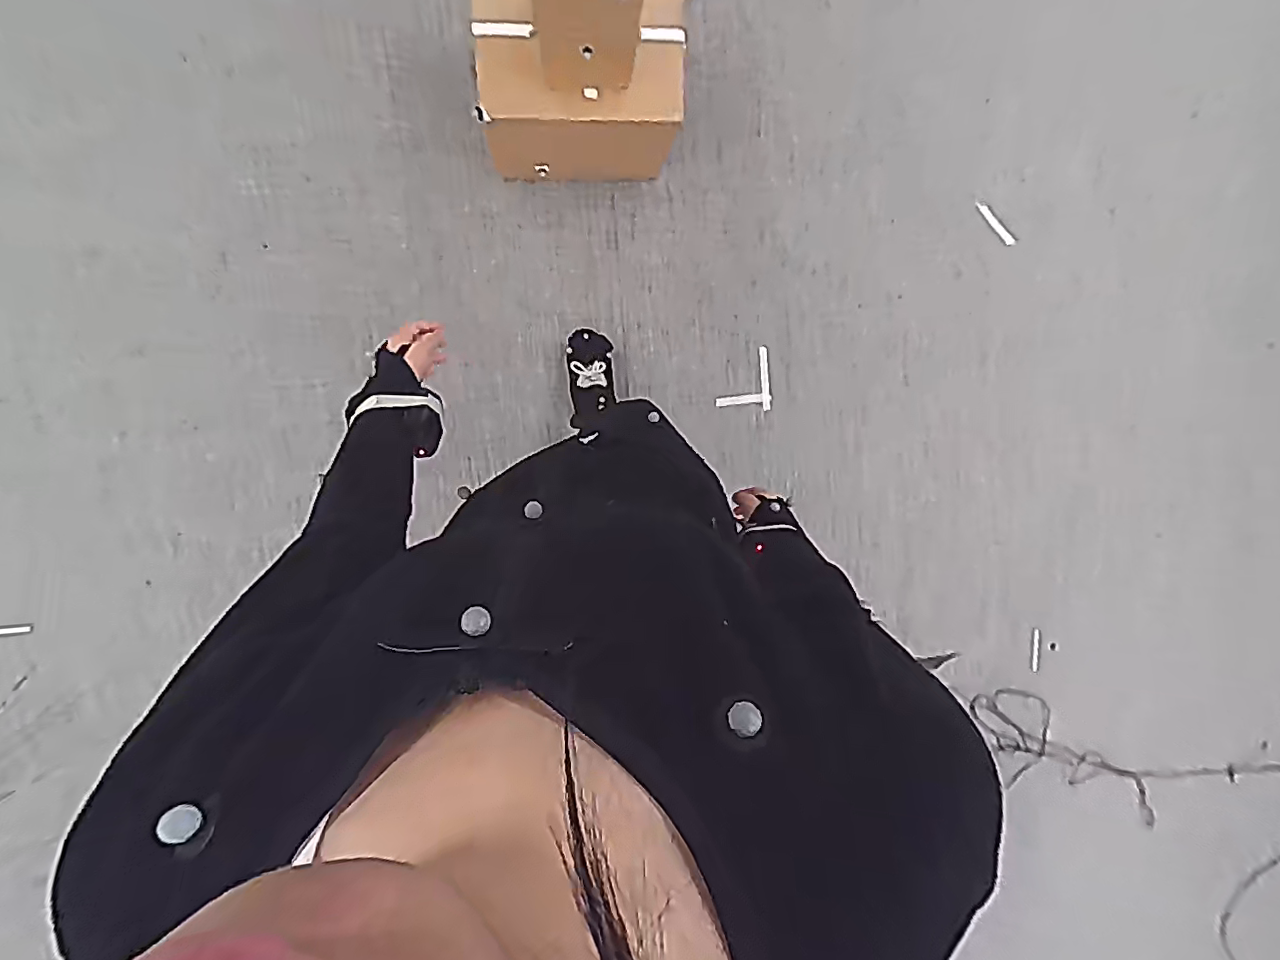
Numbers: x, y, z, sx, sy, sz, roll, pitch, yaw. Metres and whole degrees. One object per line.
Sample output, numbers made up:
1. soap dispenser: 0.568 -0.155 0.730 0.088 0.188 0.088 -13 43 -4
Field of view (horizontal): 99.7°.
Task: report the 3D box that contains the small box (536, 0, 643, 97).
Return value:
1. small box: -0.095 -0.824 0.977 0.179 0.176 0.168 -6 101 -7
